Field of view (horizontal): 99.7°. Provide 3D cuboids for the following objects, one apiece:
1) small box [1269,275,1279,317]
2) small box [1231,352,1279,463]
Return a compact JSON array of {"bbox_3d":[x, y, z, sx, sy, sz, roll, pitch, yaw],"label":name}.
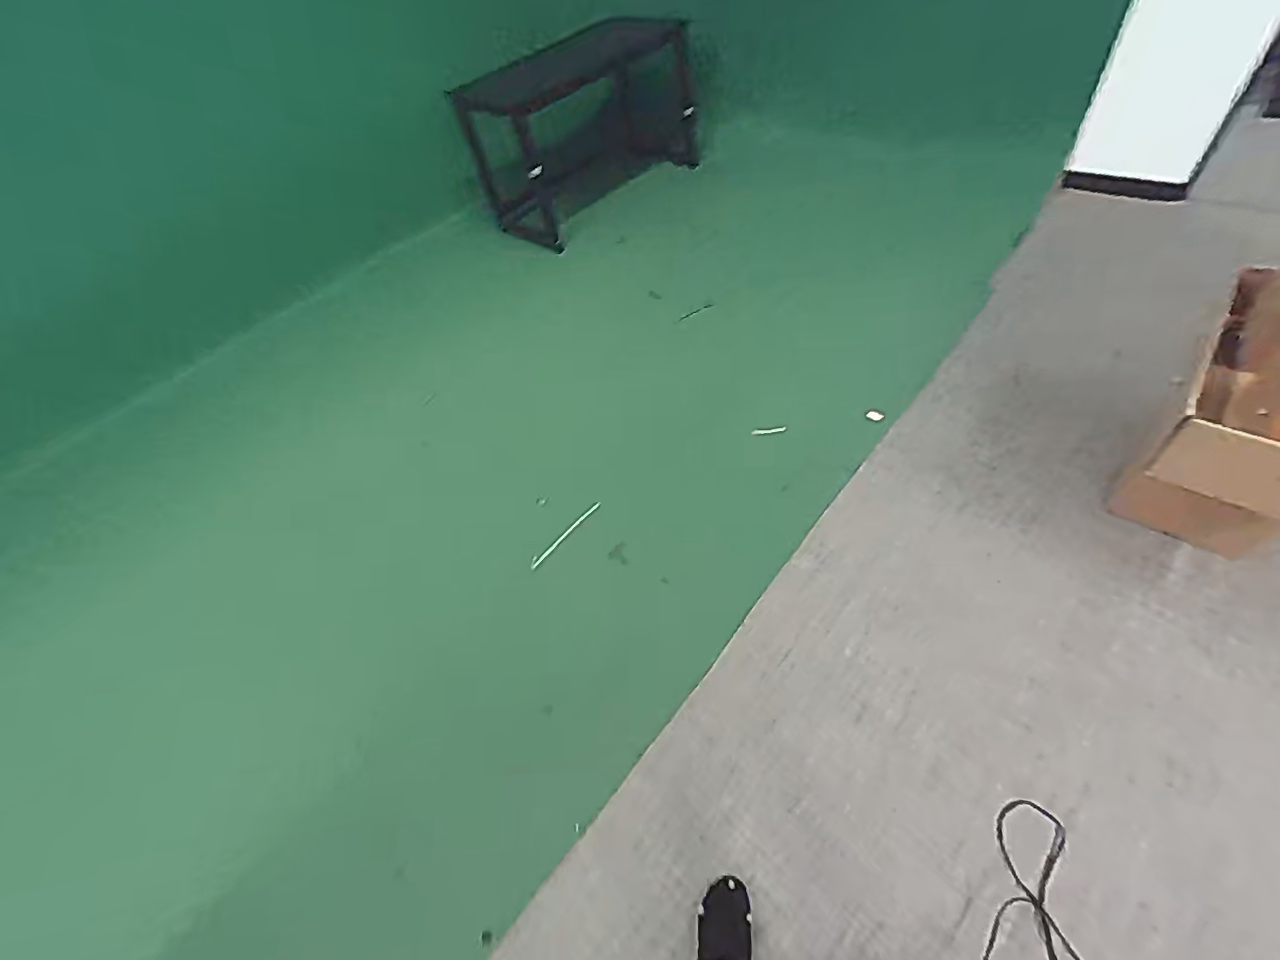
[{"bbox_3d":[1.493,-0.438,1.126,0.179,0.176,0.168,23,61,29],"label":"small box"},{"bbox_3d":[1.396,-0.139,1.124,0.168,0.176,0.179,16,57,23],"label":"small box"}]
